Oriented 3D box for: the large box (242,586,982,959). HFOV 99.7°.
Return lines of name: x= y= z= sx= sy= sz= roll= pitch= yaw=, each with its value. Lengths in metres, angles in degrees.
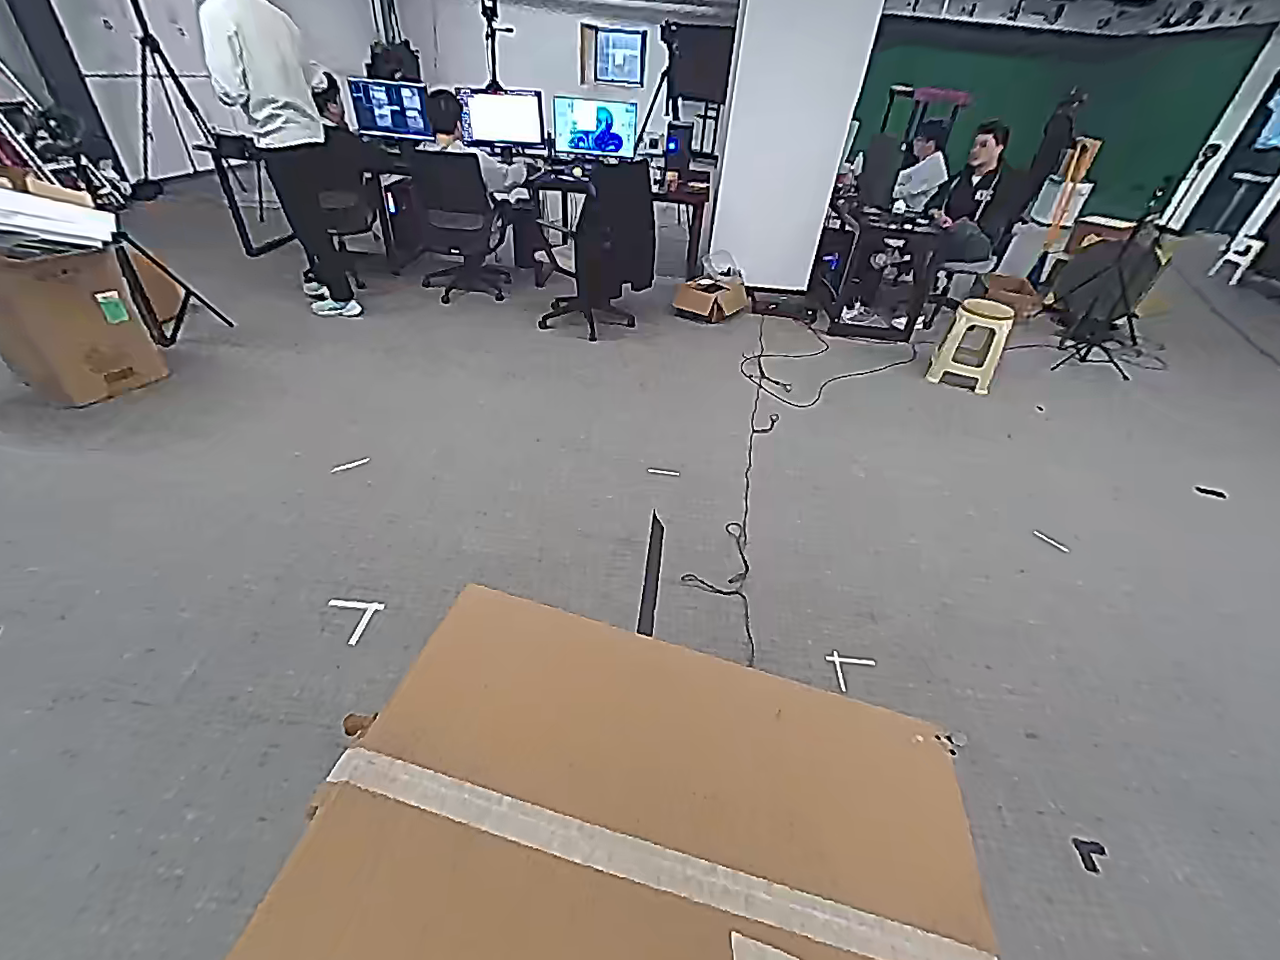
large box: x=-0.014 y=0.345 z=0.428 sx=0.408 sy=0.320 sz=0.320 roll=17 pitch=39 yaw=4
